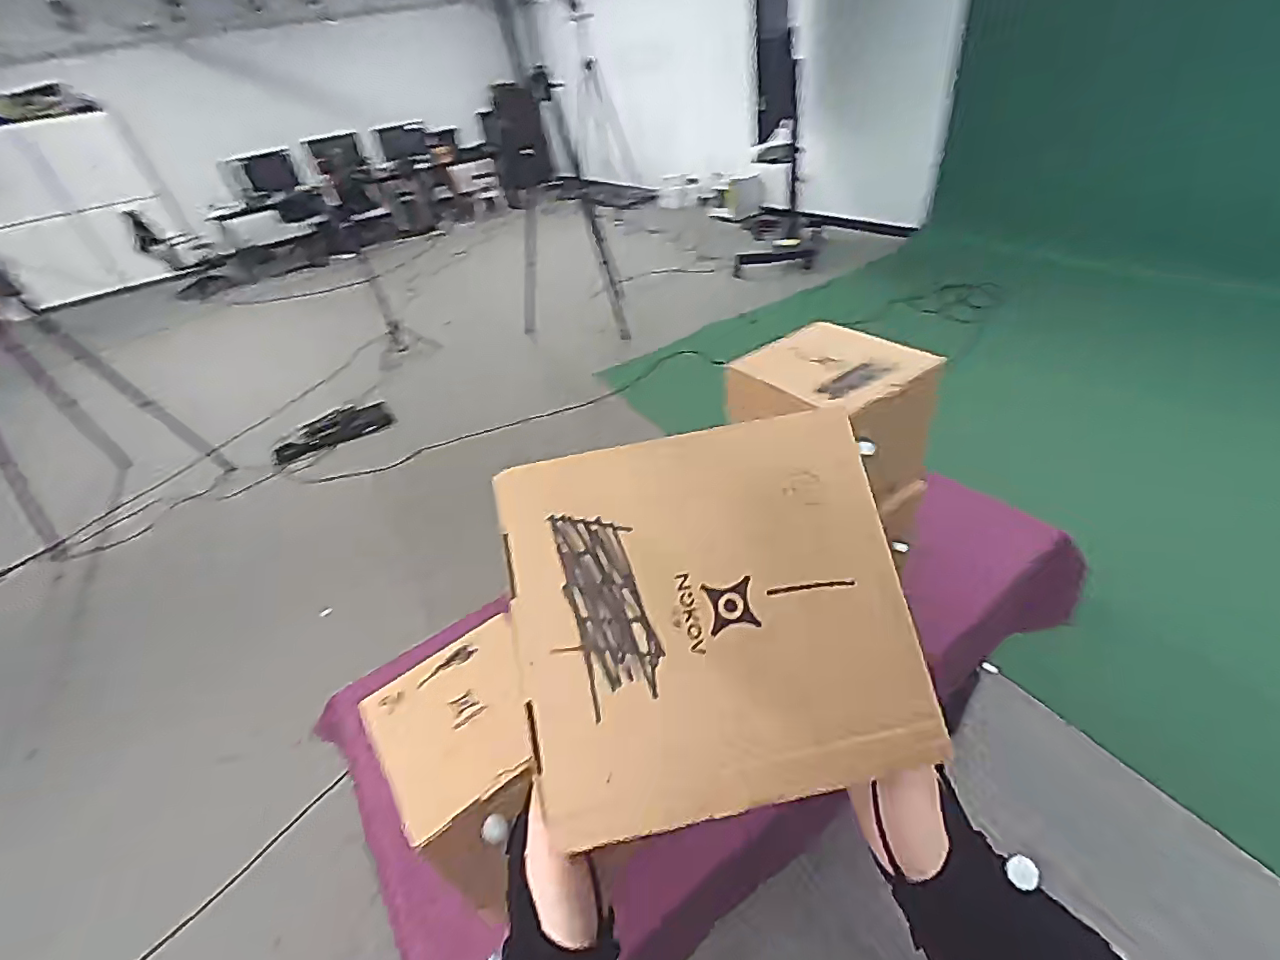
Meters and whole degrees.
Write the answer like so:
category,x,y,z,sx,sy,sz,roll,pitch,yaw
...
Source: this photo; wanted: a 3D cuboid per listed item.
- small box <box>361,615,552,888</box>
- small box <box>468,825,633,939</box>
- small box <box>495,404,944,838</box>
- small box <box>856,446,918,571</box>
category,x,y,z,sx,sy,sz,roll,pitch,yaw
small box,-0.160,0.289,0.578,0.168,0.176,0.179,-31,42,-24
small box,-0.129,0.416,0.677,0.179,0.176,0.168,-30,41,-24
small box,0.030,0.074,0.320,0.179,0.176,0.168,-11,77,-3
small box,0.253,0.059,0.762,0.168,0.176,0.179,-27,40,-20
